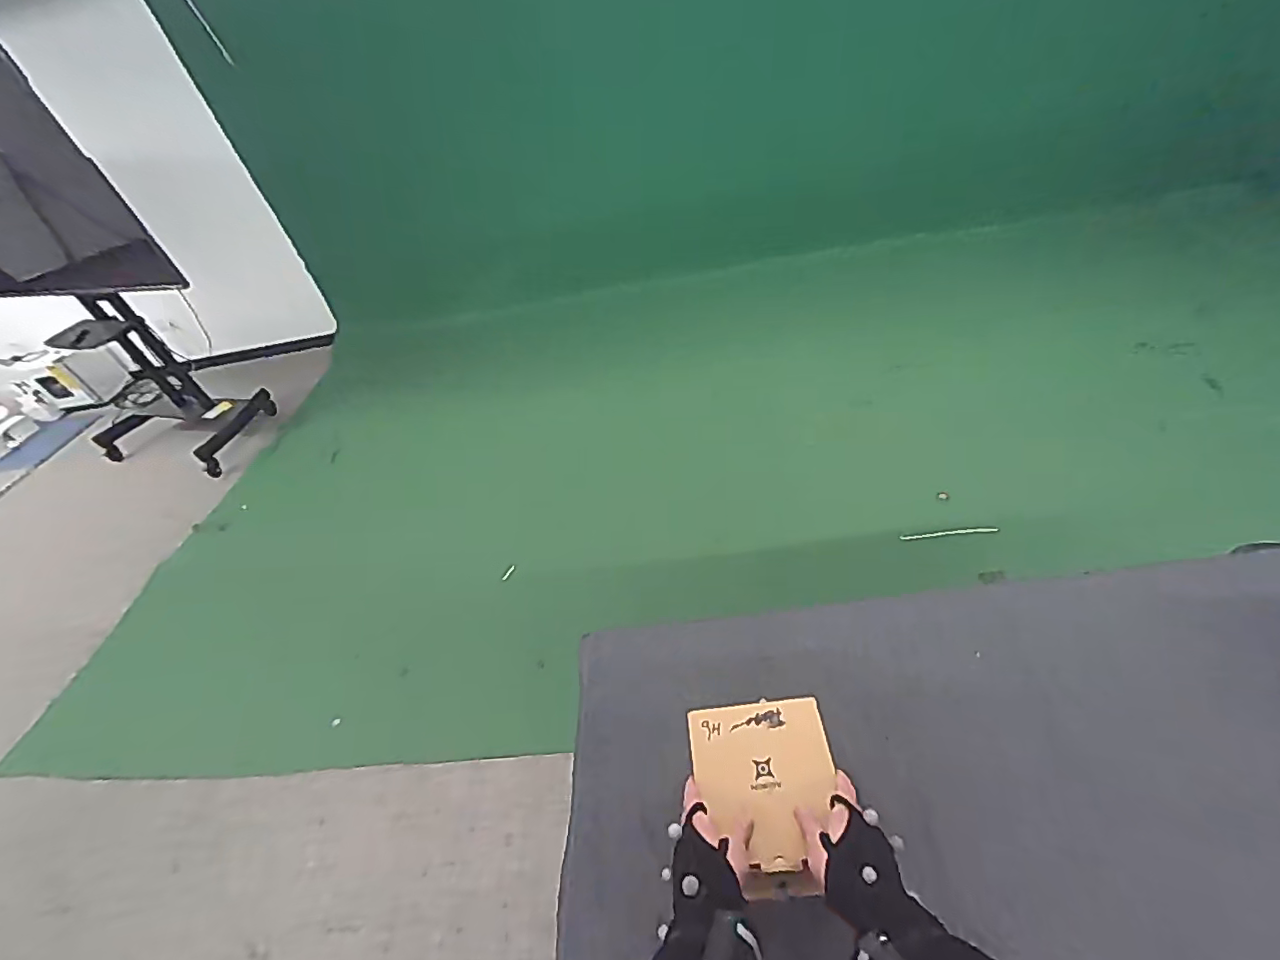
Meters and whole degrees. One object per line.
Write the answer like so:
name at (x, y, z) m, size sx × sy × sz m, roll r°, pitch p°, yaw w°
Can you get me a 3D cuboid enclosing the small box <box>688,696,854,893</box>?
small box at (0.158, 0.402, 0.684) m, size 0.168 × 0.176 × 0.179 m, roll -9°, pitch 42°, yaw 5°
